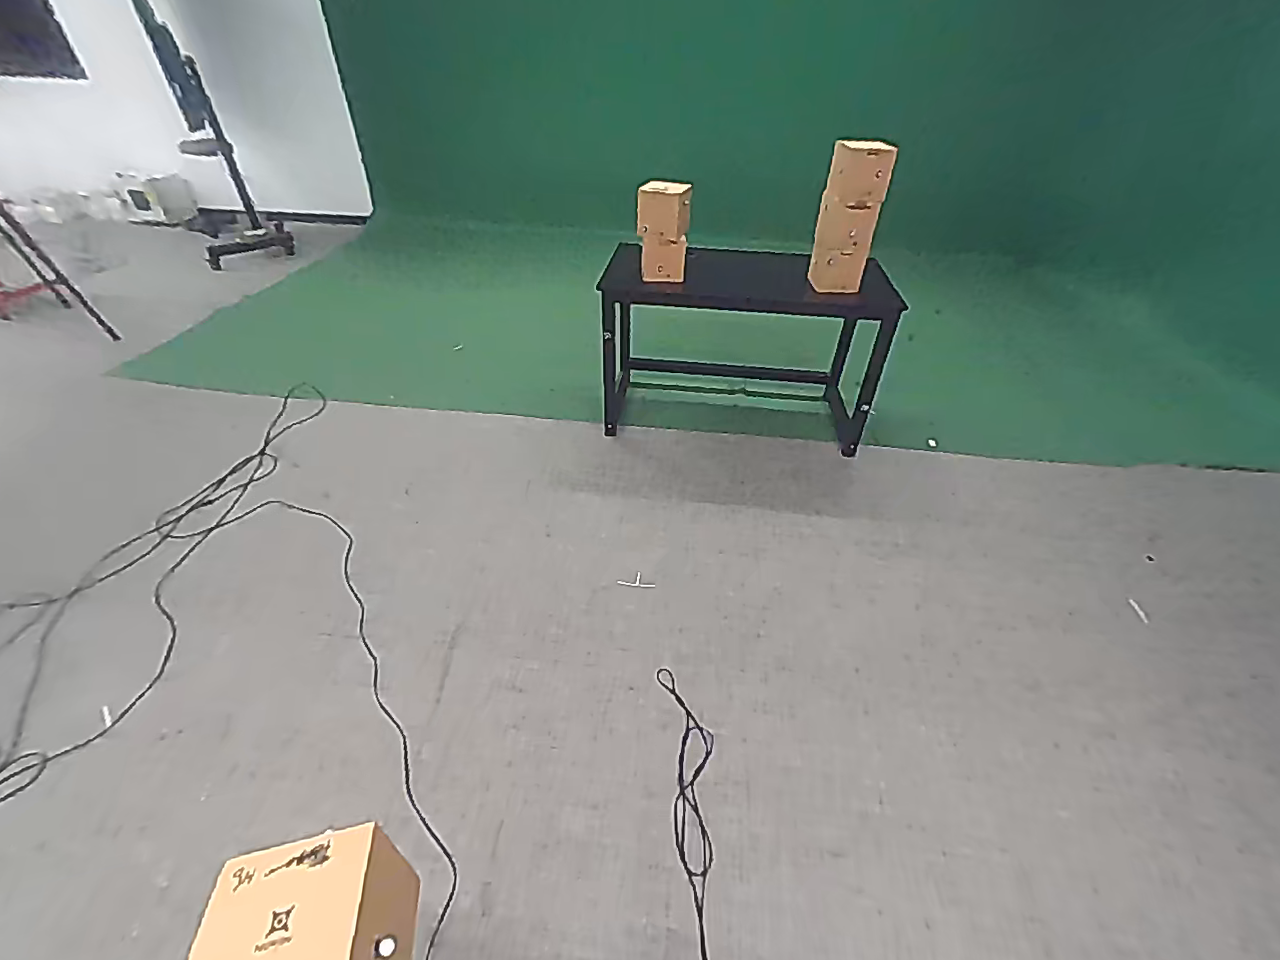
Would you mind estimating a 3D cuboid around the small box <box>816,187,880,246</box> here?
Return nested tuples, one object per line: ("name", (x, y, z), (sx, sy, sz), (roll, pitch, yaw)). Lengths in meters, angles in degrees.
("small box", (0.784, -1.004, 2.059), (0.168, 0.176, 0.179), (0, 39, -1))

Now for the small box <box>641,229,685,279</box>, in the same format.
("small box", (0.092, -0.943, 2.220), (0.168, 0.176, 0.179), (1, 41, -2))

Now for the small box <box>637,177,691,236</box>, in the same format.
("small box", (0.093, -1.070, 2.115), (0.168, 0.176, 0.179), (15, 41, 14))

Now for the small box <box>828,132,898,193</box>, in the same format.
("small box", (0.794, -1.143, 1.945), (0.168, 0.176, 0.179), (1, 39, -1))

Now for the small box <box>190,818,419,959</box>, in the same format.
("small box", (-0.360, 0.519, 0.598), (0.168, 0.176, 0.179), (-11, 36, -7))
